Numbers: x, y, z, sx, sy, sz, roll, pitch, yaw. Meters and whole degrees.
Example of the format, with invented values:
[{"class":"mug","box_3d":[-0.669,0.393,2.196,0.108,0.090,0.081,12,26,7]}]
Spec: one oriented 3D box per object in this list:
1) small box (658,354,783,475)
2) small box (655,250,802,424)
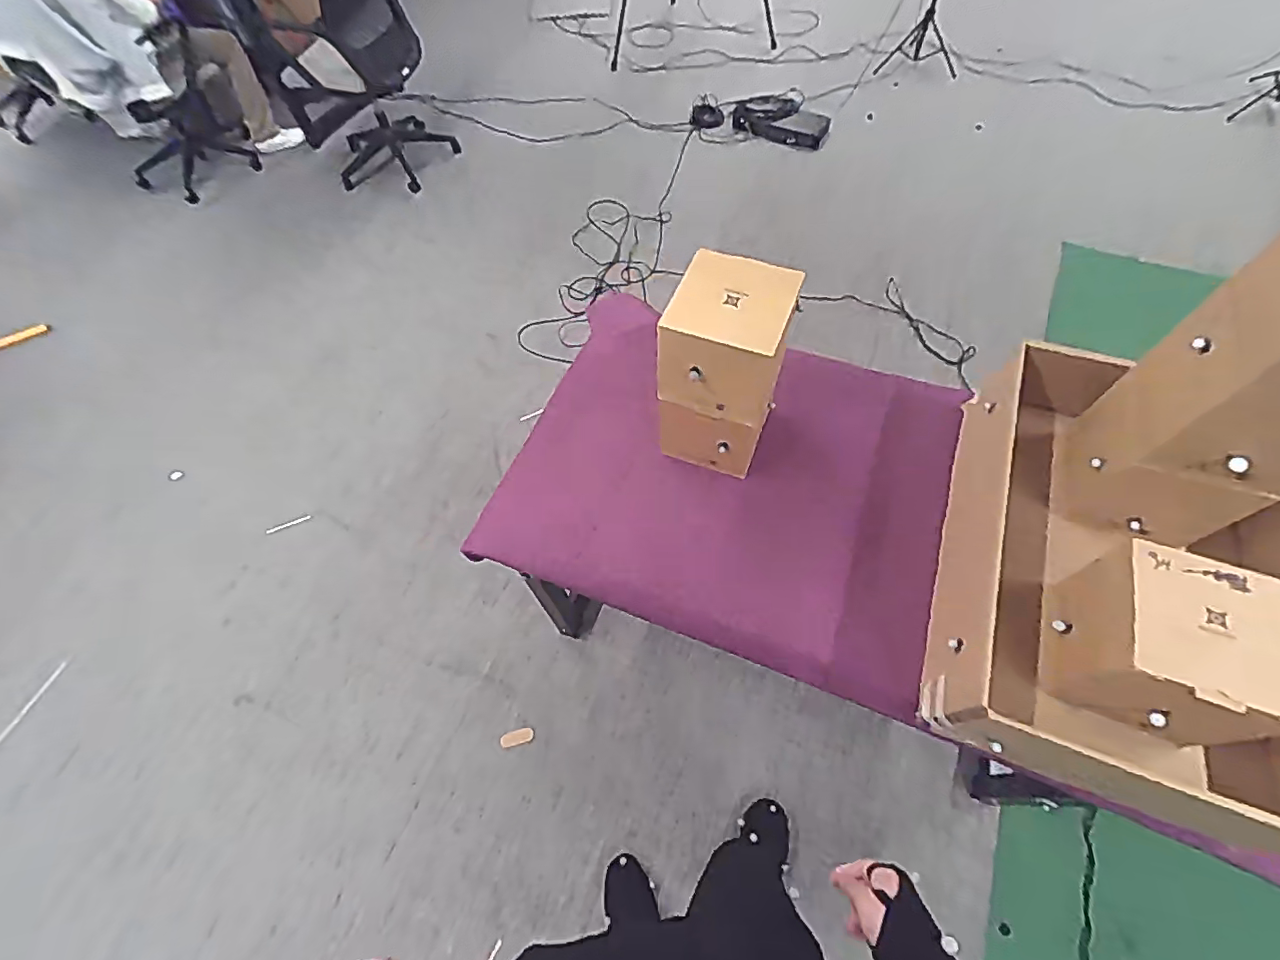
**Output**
[{"class":"small box","box_3d":[0.141,-0.135,0.971,0.168,0.176,0.179,19,63,13]},{"class":"small box","box_3d":[0.132,-0.213,0.830,0.168,0.176,0.179,19,62,13]}]
